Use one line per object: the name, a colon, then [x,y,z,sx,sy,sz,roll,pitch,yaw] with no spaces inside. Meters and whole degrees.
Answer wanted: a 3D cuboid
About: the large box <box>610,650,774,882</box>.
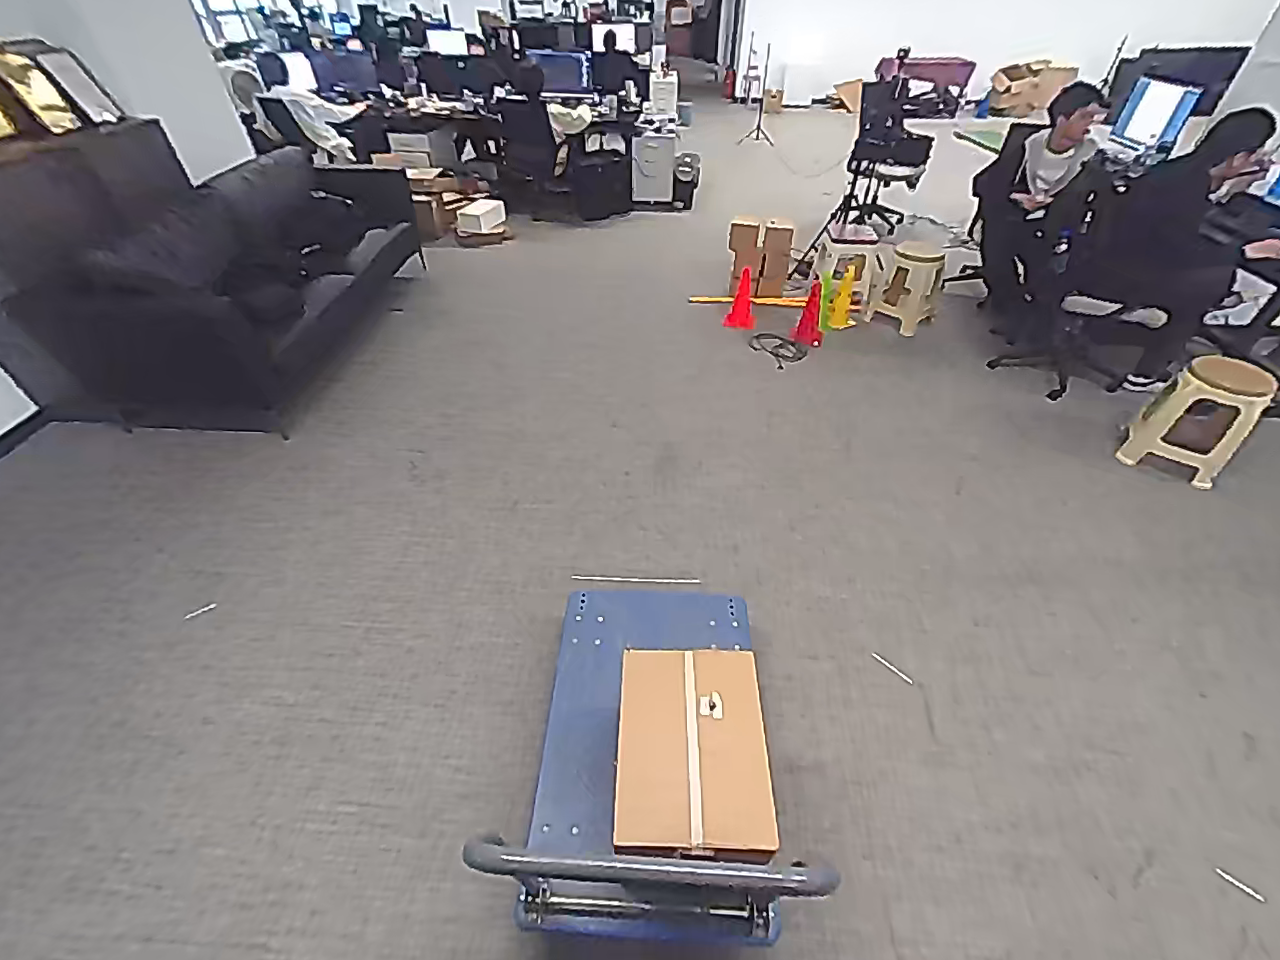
large box: [0.102,0.653,1.245,0.320,0.320,0.408,1,43,1]
